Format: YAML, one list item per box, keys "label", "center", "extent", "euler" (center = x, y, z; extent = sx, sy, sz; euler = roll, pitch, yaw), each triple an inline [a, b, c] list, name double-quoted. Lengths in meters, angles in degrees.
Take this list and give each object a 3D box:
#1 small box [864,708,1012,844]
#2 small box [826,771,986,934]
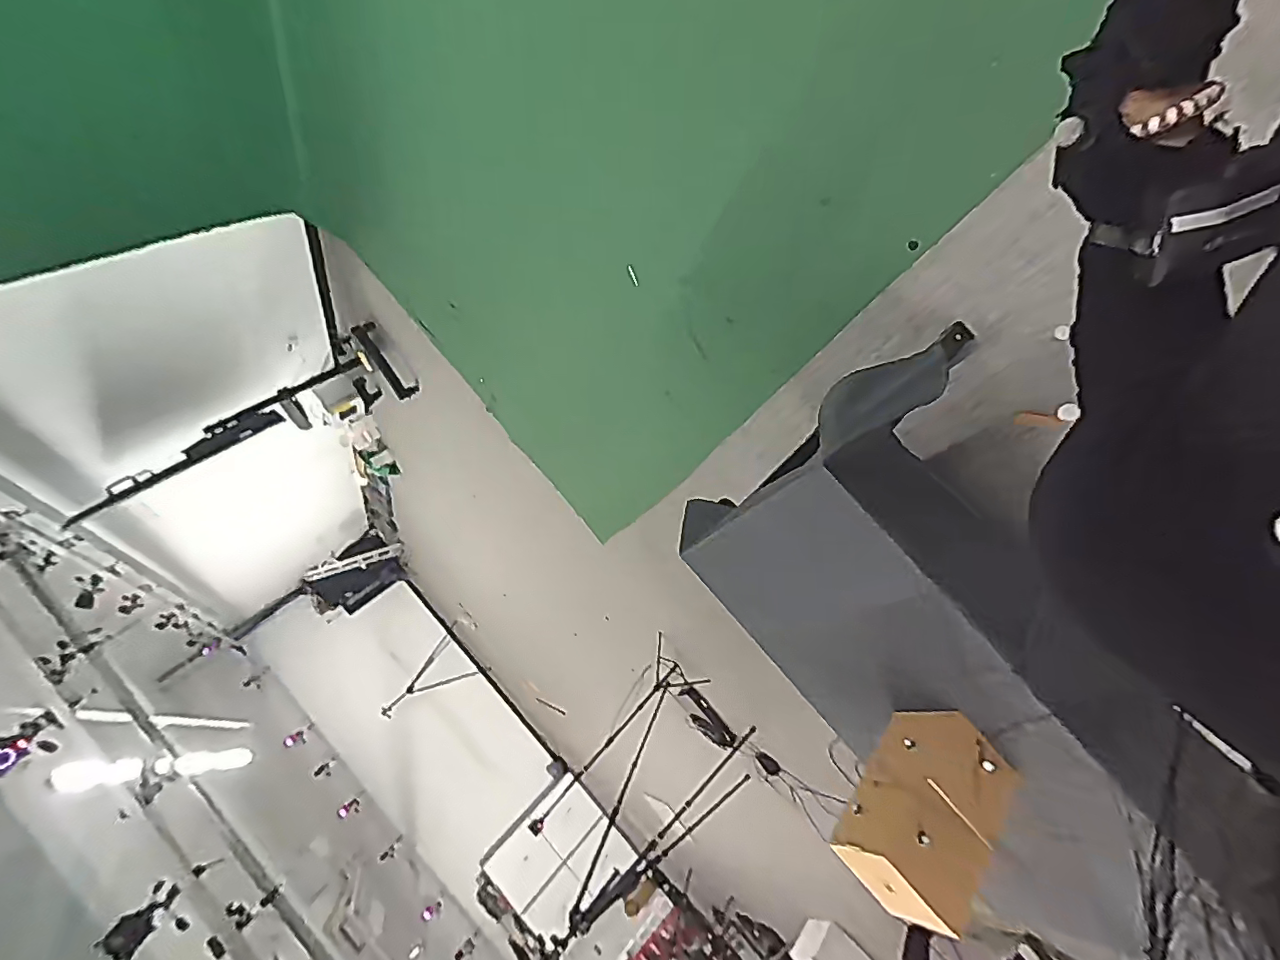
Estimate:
- label: "small box"
  center: [0.602, 0.585, 1.093]
  extent: [0.168, 0.176, 0.179]
  euler: [49, 147, 3]
- label: "small box"
  center: [0.495, 0.676, 1.009]
  extent: [0.179, 0.176, 0.168]
  euler: [48, 149, 5]
